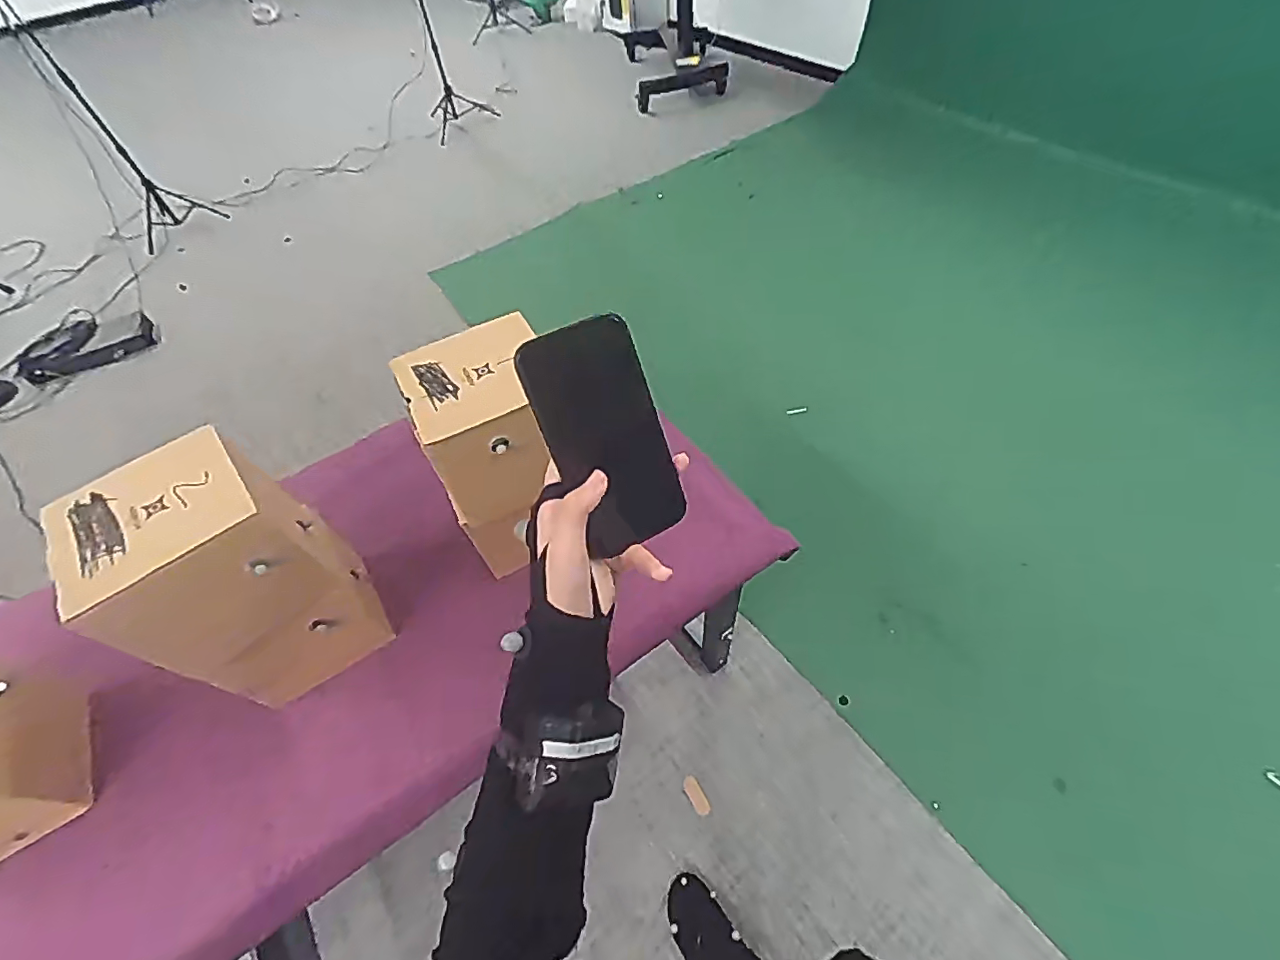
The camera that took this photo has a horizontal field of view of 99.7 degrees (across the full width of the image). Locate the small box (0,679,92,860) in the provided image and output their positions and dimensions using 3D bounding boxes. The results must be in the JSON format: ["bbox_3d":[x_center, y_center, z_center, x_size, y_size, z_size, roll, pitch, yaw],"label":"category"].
[{"bbox_3d":[-0.808,0.354,0.639,0.168,0.176,0.179,-31,57,-16],"label":"small box"}]

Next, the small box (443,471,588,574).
[{"bbox_3d":[-0.190,0.012,0.831,0.179,0.176,0.168,-26,56,-13],"label":"small box"}]

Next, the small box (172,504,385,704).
[{"bbox_3d":[-0.477,0.172,0.739,0.179,0.176,0.168,-31,57,-17],"label":"small box"}]

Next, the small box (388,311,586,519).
[{"bbox_3d":[-0.188,-0.079,0.694,0.179,0.176,0.168,-26,56,-14],"label":"small box"}]
